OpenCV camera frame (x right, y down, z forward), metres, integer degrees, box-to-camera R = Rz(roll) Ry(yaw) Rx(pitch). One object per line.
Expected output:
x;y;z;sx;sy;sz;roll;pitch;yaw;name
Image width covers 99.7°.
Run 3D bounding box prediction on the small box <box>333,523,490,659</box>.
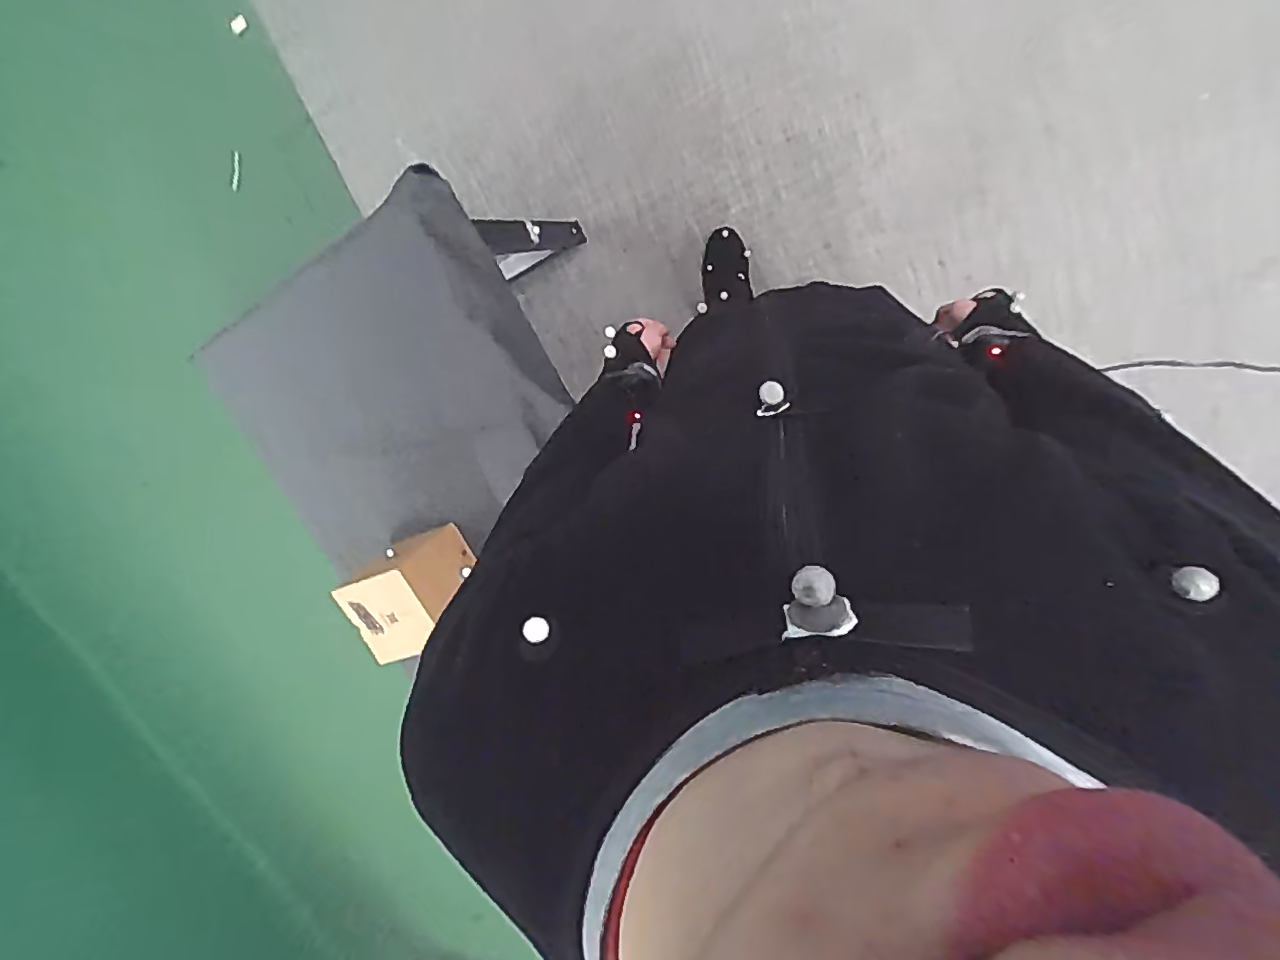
-0.420;0.205;1.021;0.179;0.176;0.168;-19;108;22;small box
